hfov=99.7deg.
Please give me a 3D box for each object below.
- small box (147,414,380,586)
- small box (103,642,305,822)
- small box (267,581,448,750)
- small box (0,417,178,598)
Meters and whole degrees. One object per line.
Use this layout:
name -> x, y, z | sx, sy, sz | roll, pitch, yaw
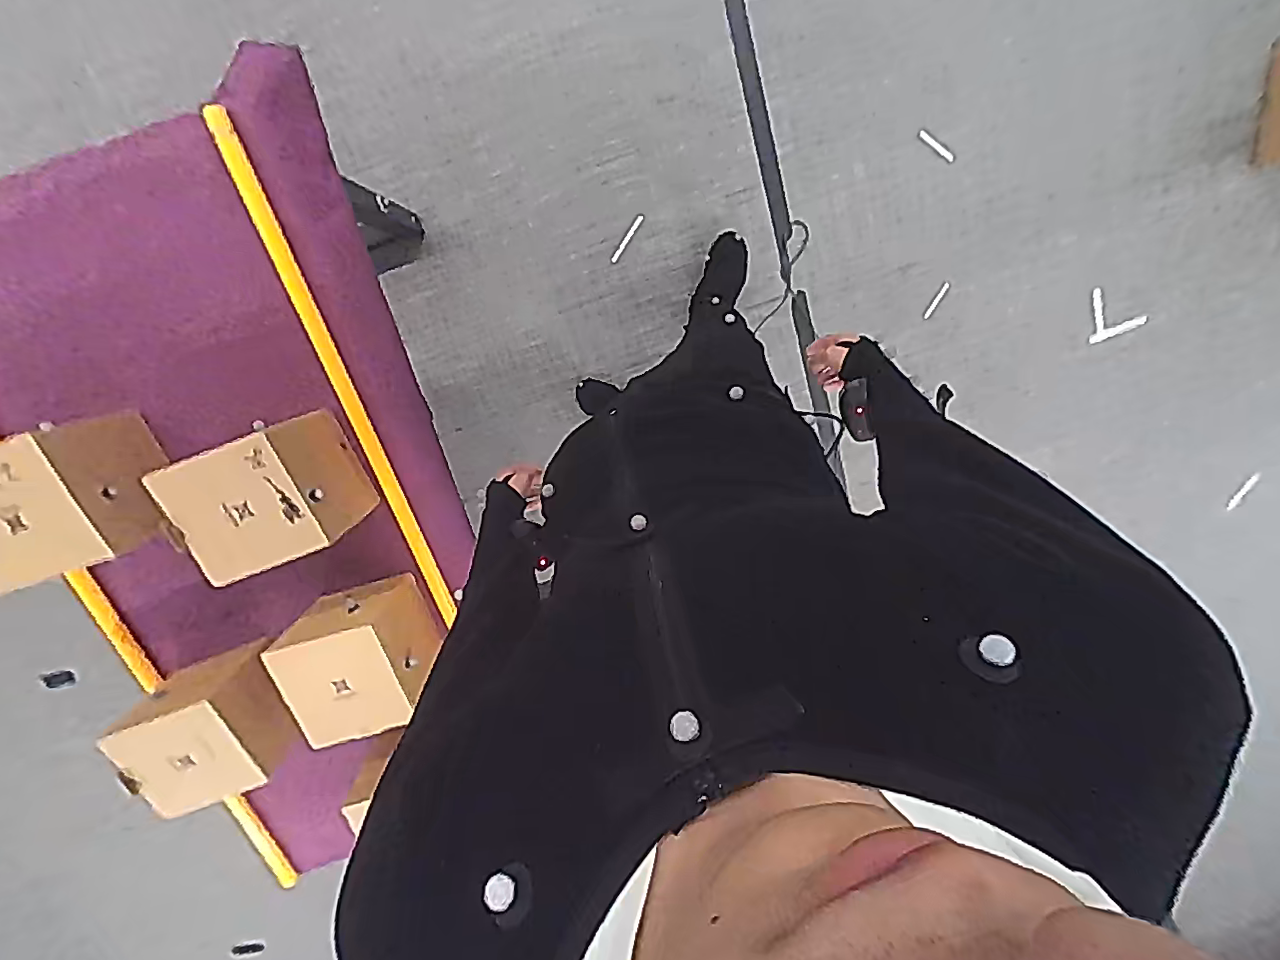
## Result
small box -> -0.514, 0.020, 0.769 | 0.179, 0.176, 0.168 | -20, 107, 4
small box -> -0.671, 0.396, 0.872 | 0.179, 0.176, 0.168 | -21, 108, 1
small box -> -0.429, 0.278, 0.855 | 0.168, 0.176, 0.179 | -16, 108, 1
small box -> -0.783, 0.029, 0.753 | 0.168, 0.176, 0.179 | -19, 107, 0
